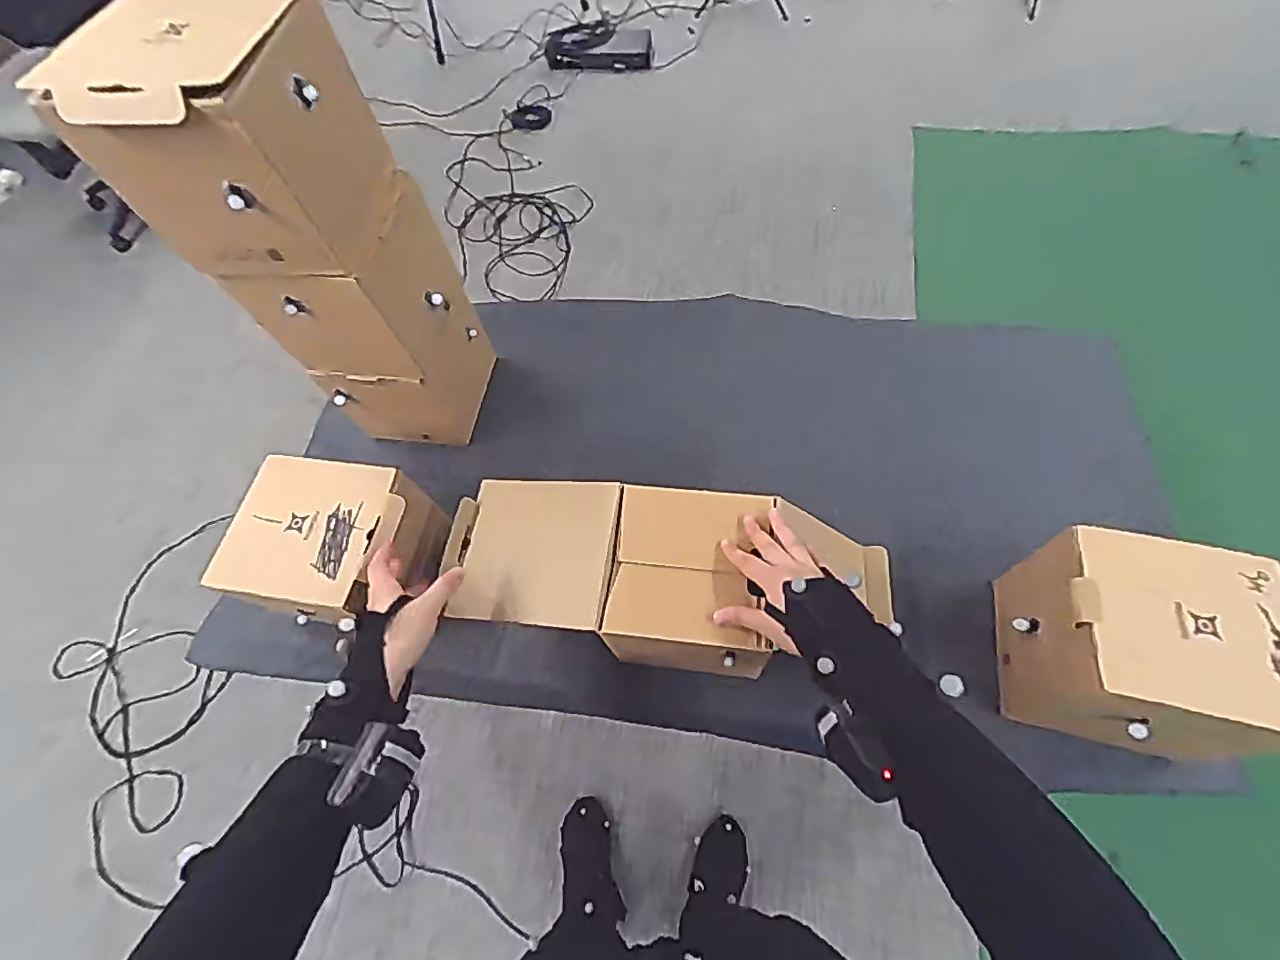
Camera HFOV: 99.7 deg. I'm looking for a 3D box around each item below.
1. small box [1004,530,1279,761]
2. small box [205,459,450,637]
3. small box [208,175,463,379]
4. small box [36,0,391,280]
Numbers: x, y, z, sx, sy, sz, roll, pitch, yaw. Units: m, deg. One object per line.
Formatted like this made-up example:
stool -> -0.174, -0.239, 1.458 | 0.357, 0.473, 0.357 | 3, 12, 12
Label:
small box -> 0.497, 0.173, 0.548 | 0.179, 0.176, 0.168 | 10, 61, 11
small box -> -0.366, 0.092, 0.675 | 0.179, 0.176, 0.168 | 6, 65, 9
small box -> -0.345, -0.238, 0.652 | 0.179, 0.176, 0.168 | 6, 65, 8
small box -> -0.365, -0.310, 0.508 | 0.168, 0.176, 0.179 | 3, 63, 5
